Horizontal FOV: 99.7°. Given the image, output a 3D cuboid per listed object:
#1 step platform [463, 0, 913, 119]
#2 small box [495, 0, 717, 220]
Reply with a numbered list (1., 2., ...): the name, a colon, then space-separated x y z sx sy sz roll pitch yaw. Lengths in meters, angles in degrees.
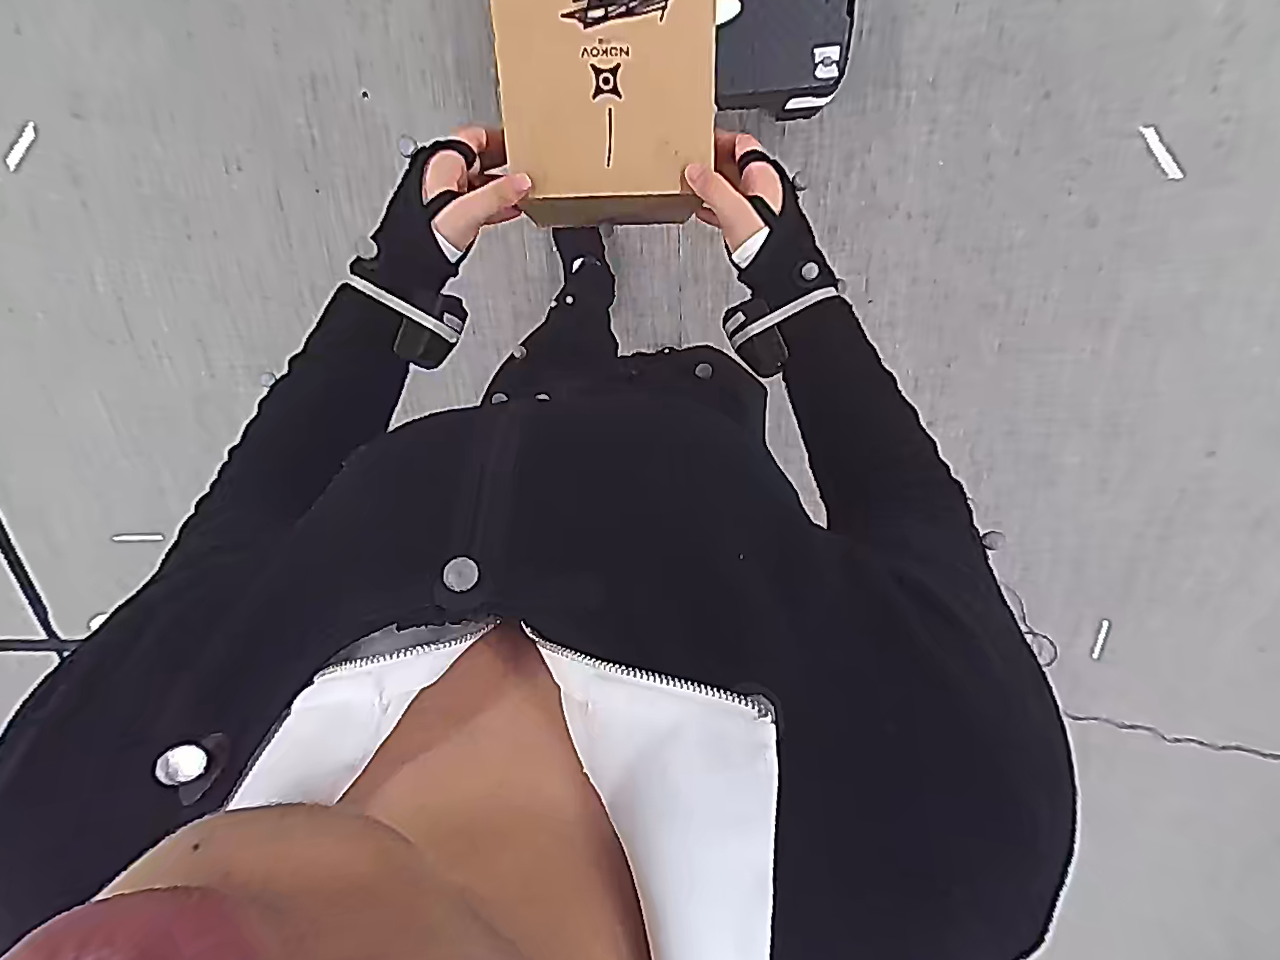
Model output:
1. step platform: 0.067 -0.779 0.887 0.684 0.204 0.286 -4 110 2
2. small box: -0.029 -0.340 0.480 0.168 0.176 0.179 -2 109 -3
